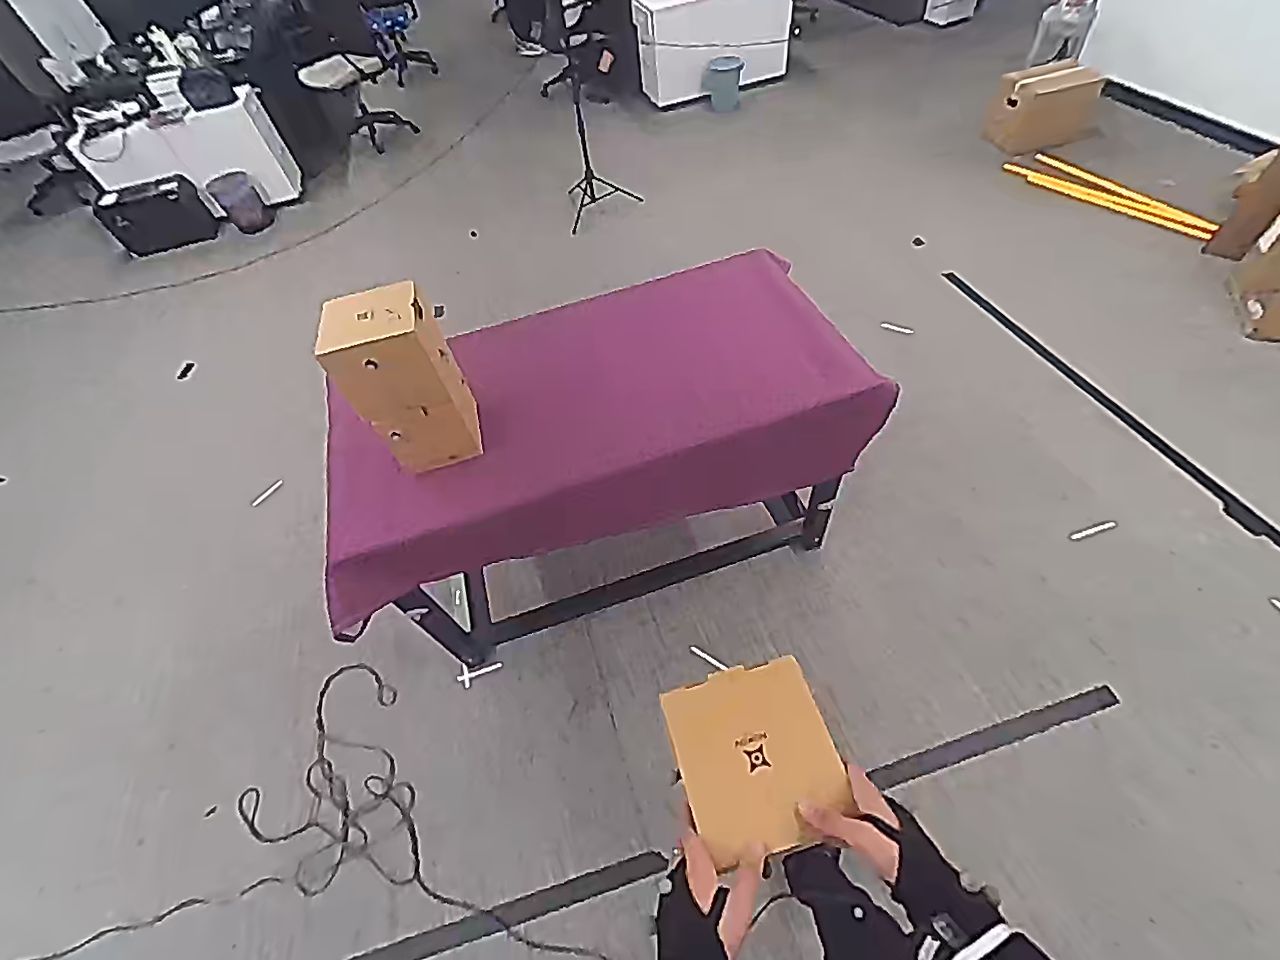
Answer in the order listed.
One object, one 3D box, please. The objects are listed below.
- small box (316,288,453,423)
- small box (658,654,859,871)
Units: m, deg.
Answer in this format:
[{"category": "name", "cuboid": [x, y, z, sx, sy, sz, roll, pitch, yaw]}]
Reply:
[{"category": "small box", "cuboid": [-0.477, -0.232, 1.032, 0.179, 0.176, 0.168, -15, 53, -4]}, {"category": "small box", "cuboid": [0.128, 0.338, 0.639, 0.168, 0.176, 0.179, -15, 50, -6]}]
